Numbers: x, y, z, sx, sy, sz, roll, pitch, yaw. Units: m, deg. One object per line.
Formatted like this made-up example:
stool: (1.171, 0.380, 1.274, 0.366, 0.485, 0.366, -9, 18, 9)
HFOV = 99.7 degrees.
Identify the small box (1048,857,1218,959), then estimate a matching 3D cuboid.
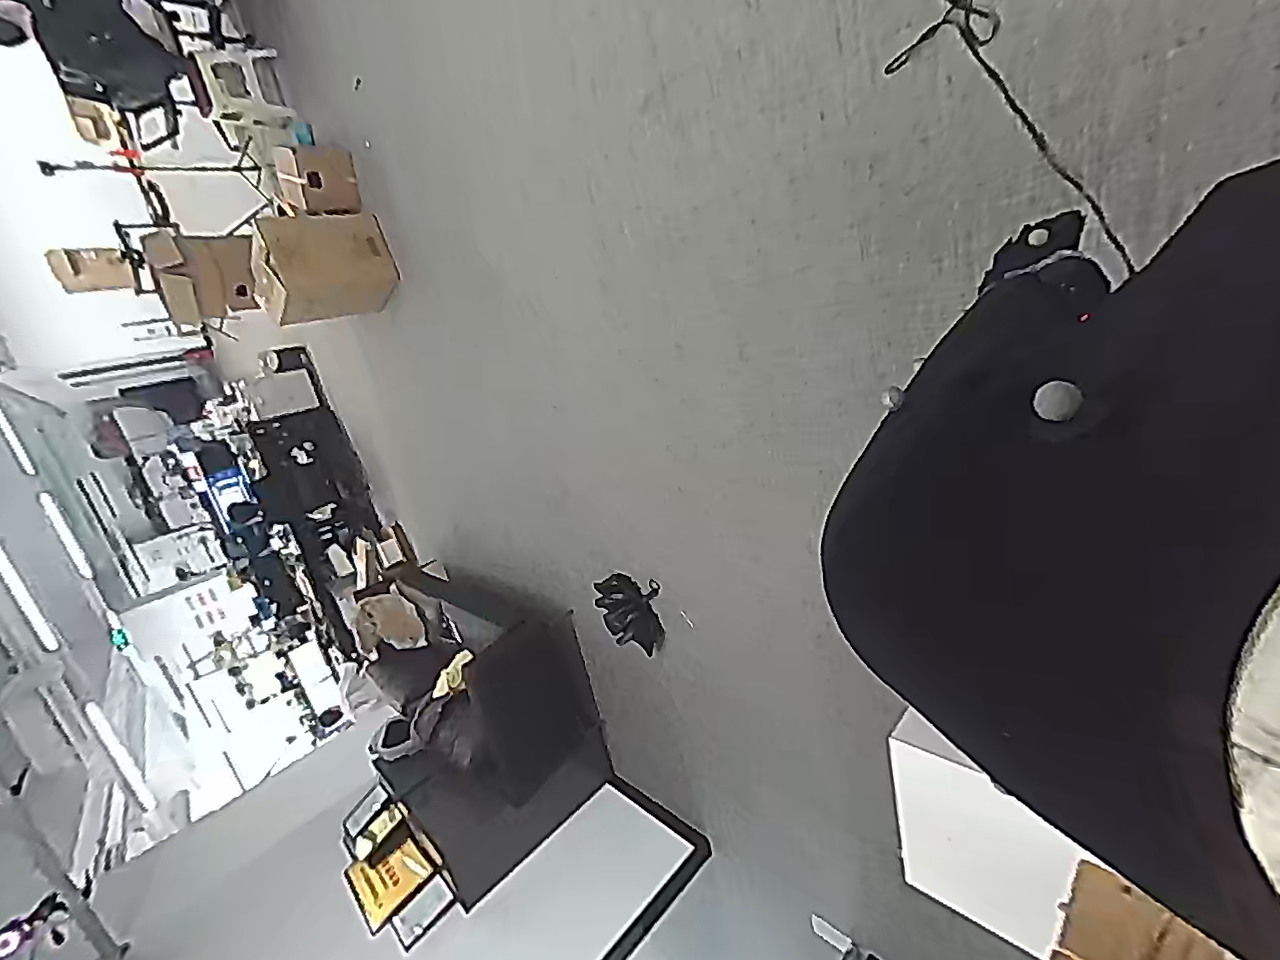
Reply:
small box: (0.722, 0.723, 0.798, 0.168, 0.176, 0.179, 8, 117, 47)
